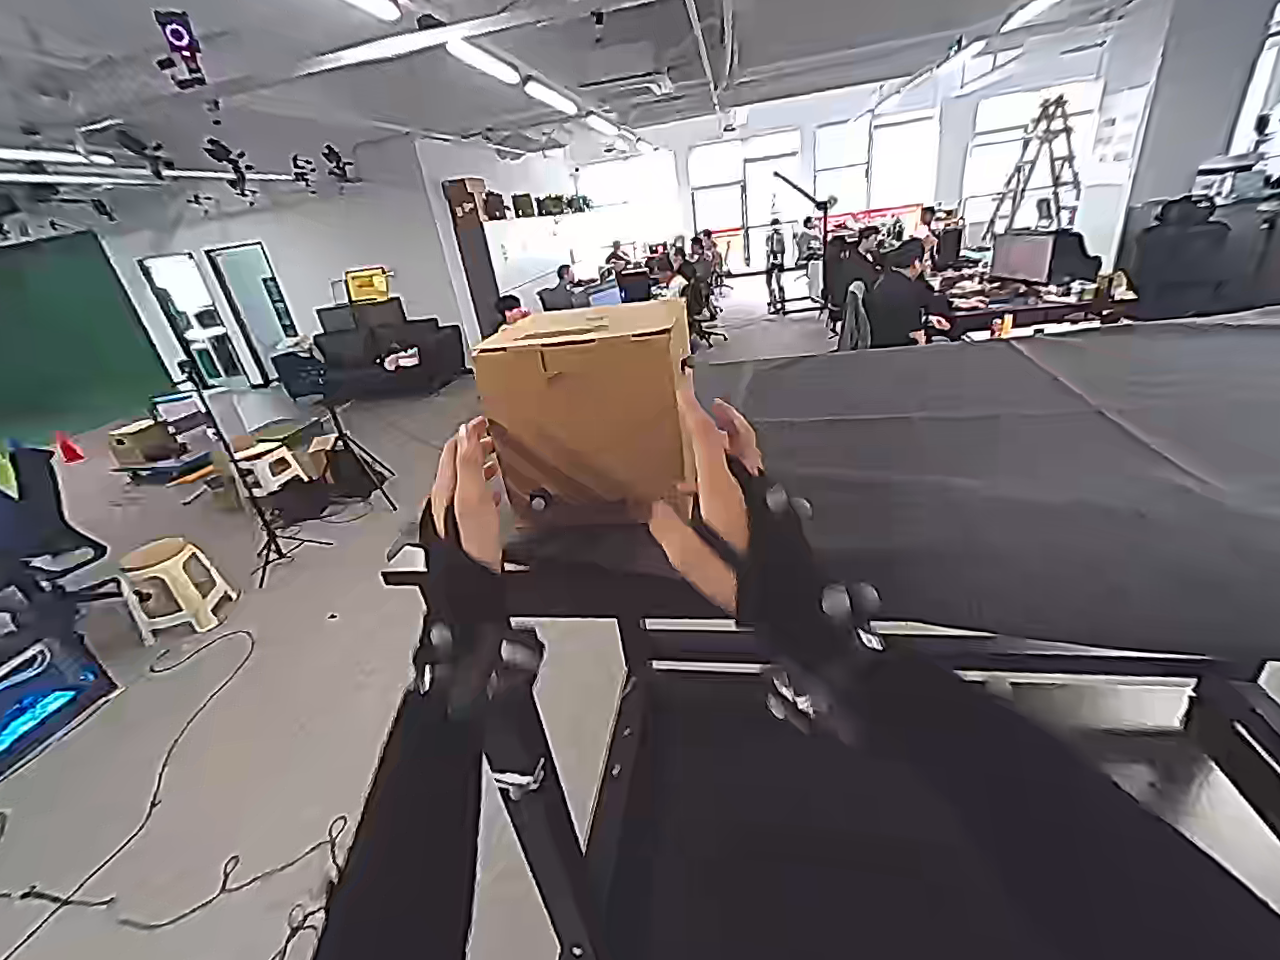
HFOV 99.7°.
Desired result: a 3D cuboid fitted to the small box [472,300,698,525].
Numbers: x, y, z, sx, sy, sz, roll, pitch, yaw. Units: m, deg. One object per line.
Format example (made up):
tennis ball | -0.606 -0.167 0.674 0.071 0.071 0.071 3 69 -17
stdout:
small box | -0.033 -0.066 0.526 0.168 0.176 0.179 -3 26 10
